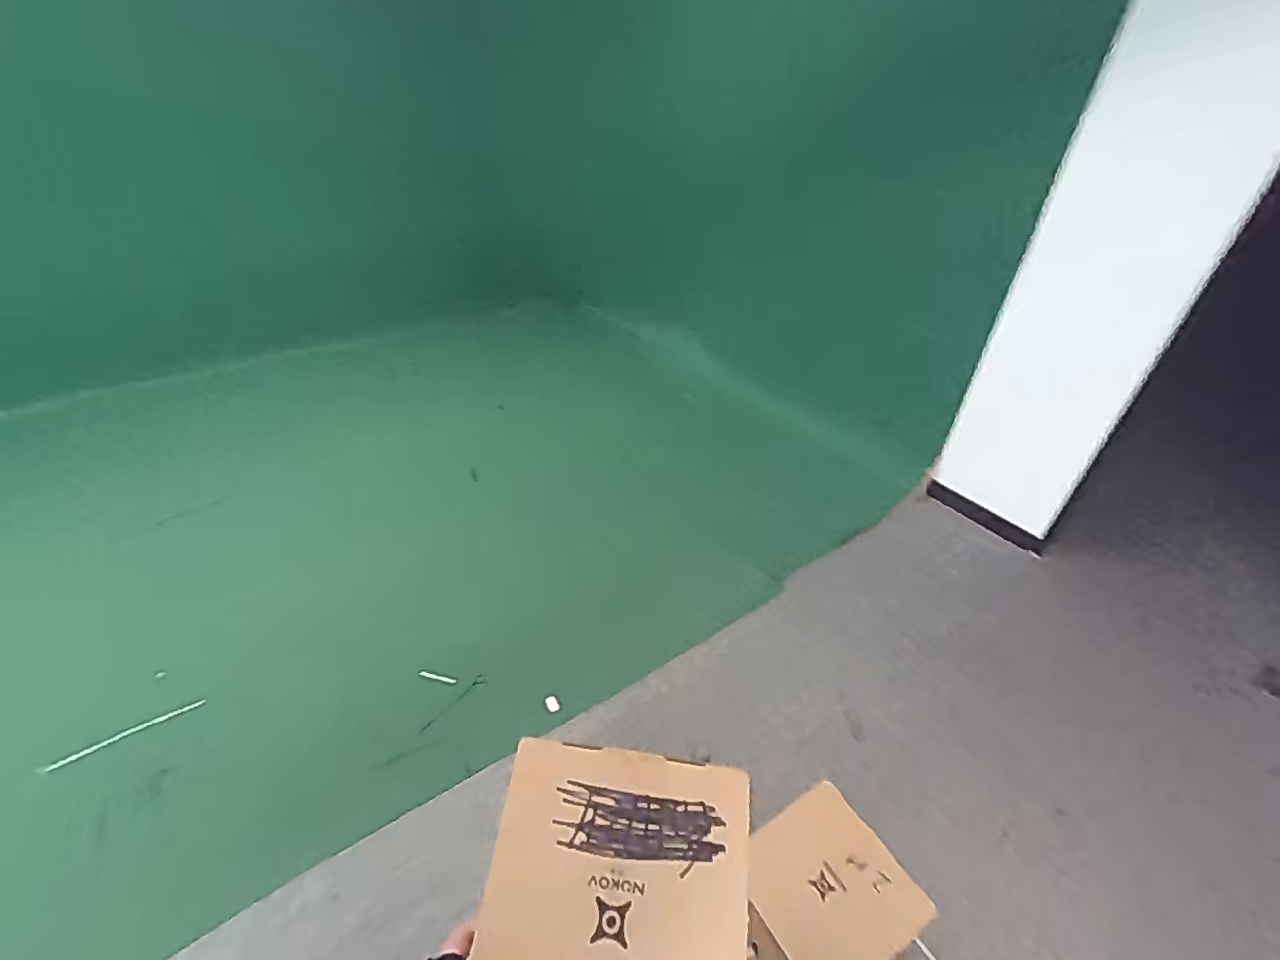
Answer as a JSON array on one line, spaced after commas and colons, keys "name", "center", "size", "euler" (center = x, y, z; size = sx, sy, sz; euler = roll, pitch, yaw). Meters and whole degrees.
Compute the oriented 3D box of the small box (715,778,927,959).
[{"name": "small box", "center": [0.206, 0.521, 0.669], "size": [0.179, 0.176, 0.168], "euler": [-19, 44, -24]}]
